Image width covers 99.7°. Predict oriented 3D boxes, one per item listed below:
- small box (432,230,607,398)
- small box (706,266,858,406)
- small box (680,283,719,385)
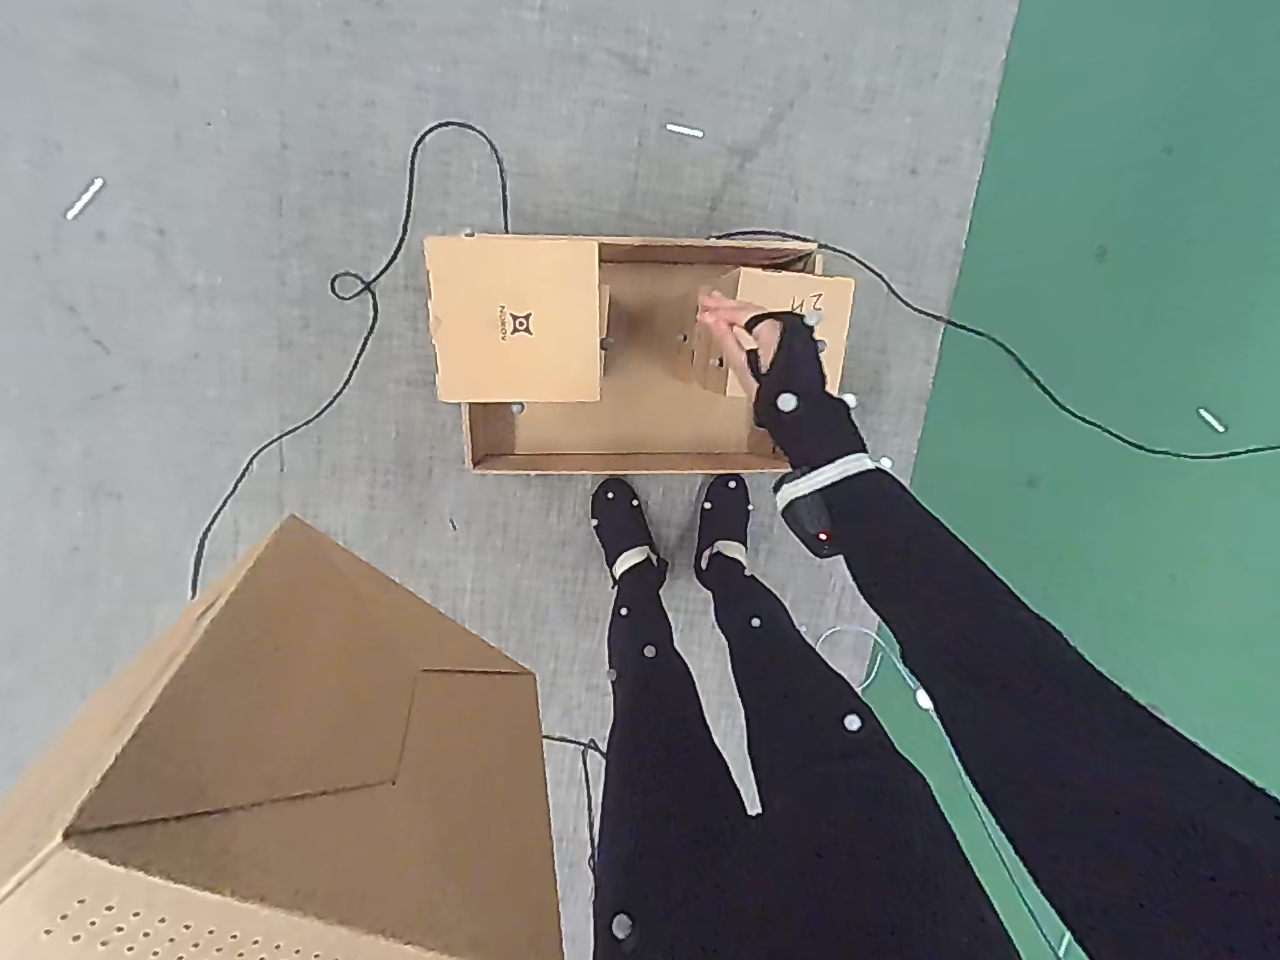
[{"bbox_3d":[-0.129,-0.190,0.639,0.179,0.176,0.168,0,105,-4],"label":"small box"},{"bbox_3d":[0.203,-0.214,0.828,0.168,0.176,0.179,4,102,-7],"label":"small box"},{"bbox_3d":[0.174,-0.253,0.986,0.179,0.176,0.168,4,102,-6],"label":"small box"}]
